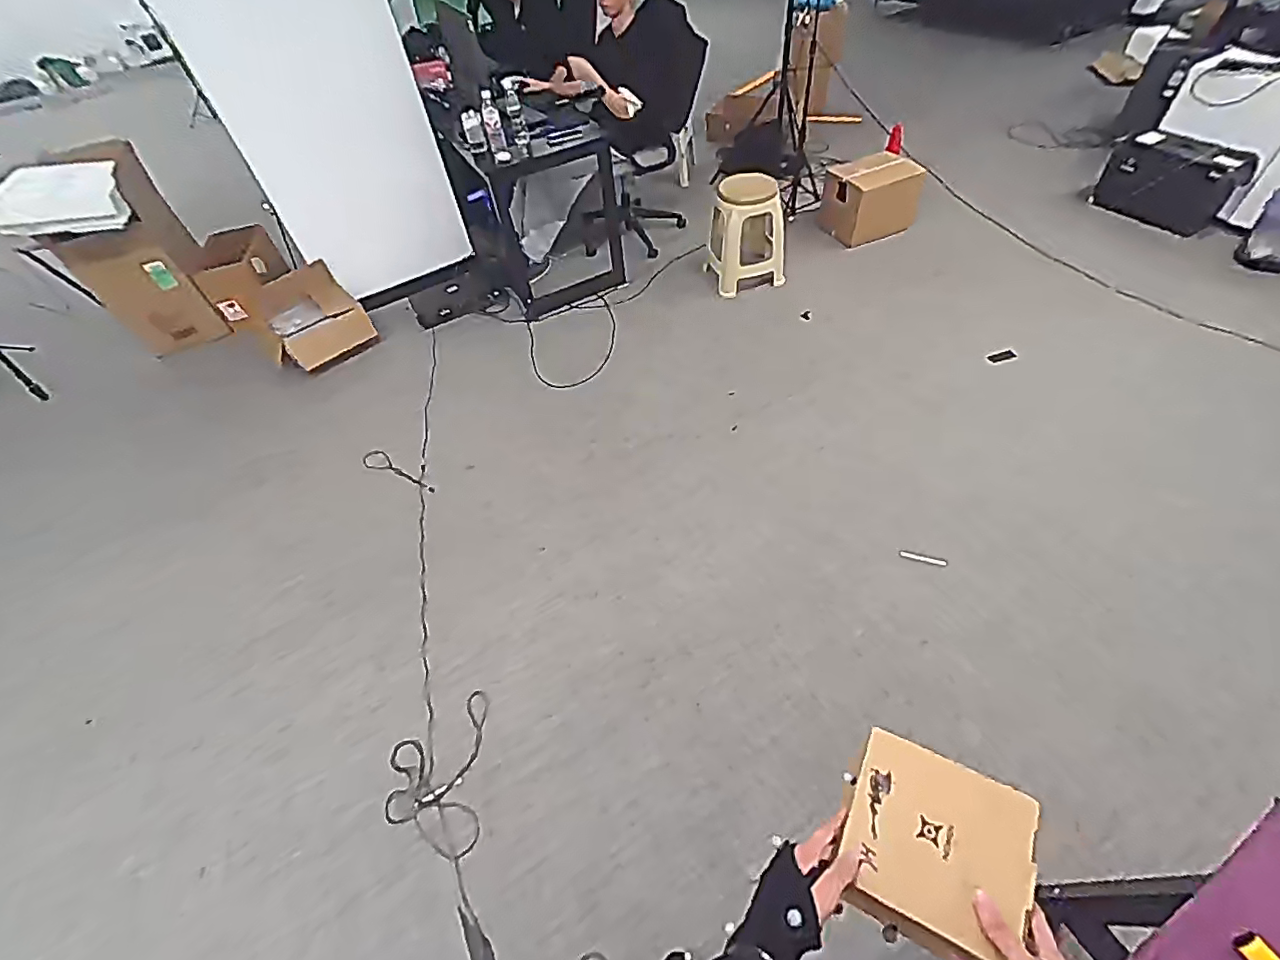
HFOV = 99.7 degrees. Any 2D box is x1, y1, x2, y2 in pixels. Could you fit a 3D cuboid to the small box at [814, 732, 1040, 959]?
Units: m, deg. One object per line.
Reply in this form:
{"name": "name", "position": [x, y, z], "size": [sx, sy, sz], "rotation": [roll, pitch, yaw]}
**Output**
{"name": "small box", "position": [0.321, 0.429, 0.629], "size": [0.179, 0.176, 0.168], "rotation": [19, 57, 22]}
